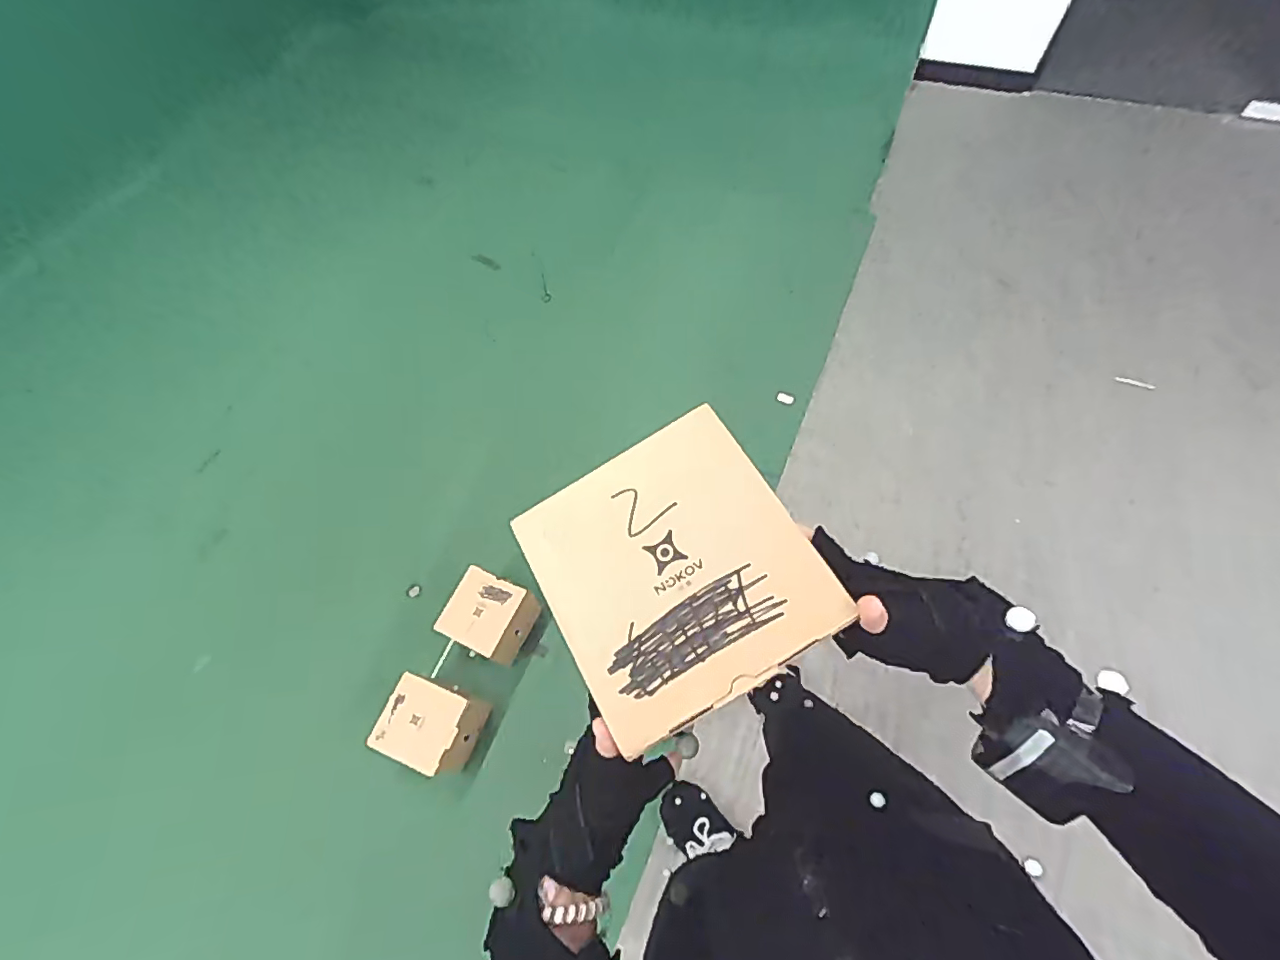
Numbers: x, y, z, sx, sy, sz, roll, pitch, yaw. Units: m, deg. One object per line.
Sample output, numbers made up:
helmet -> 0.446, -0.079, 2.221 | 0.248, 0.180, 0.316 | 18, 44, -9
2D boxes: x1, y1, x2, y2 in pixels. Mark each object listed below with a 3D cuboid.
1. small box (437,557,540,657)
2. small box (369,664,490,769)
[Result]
small box -> -0.370, 0.325, 1.362 | 0.168, 0.176, 0.179 | 22, 69, 14
small box -> -0.478, 0.549, 1.265 | 0.179, 0.176, 0.168 | 19, 68, 12
